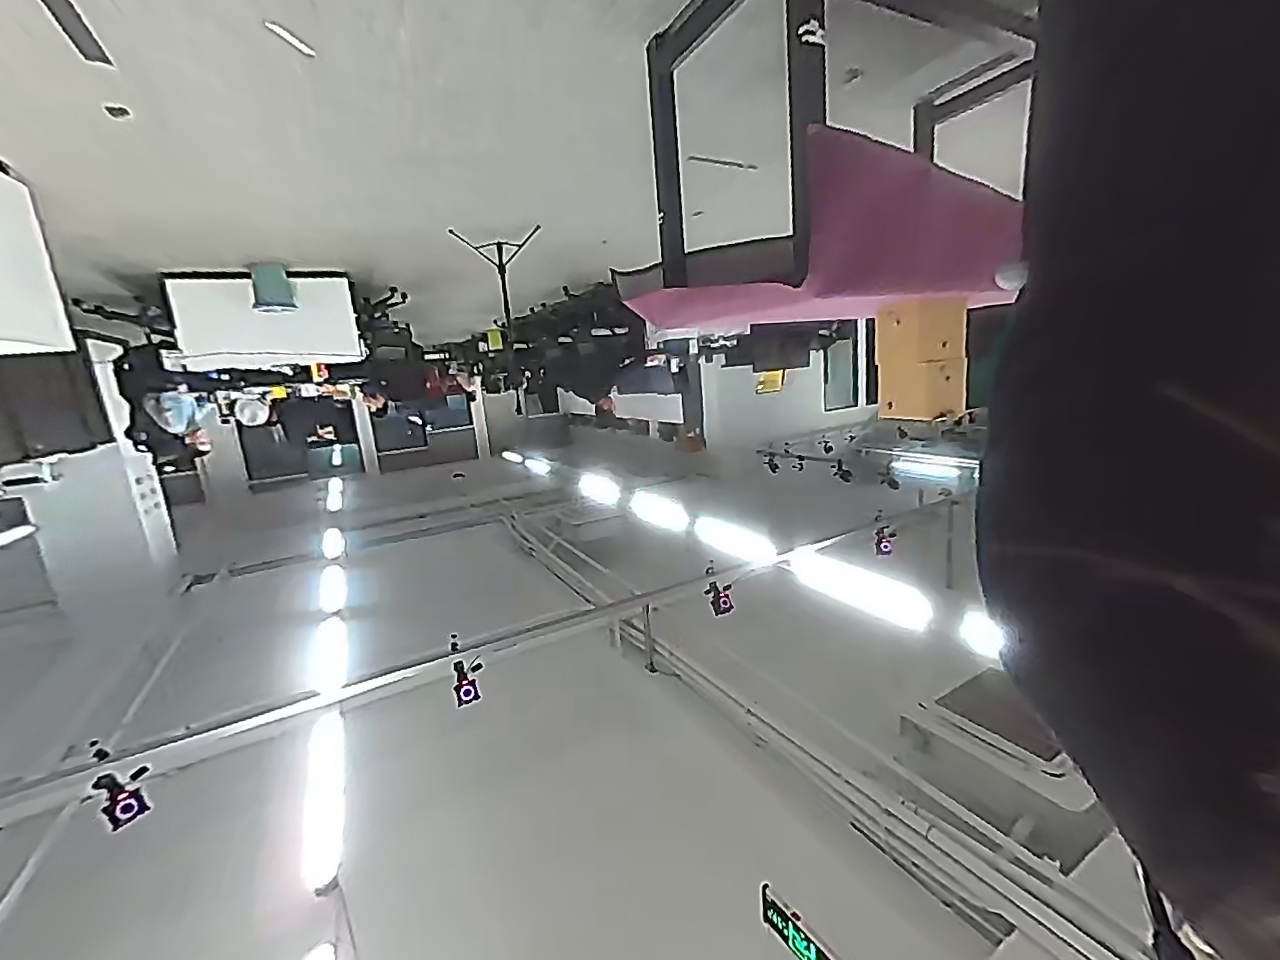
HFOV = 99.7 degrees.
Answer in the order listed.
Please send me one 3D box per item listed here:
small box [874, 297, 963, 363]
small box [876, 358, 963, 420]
[{"bbox_3d":[0.808,-0.434,1.570,0.179,0.176,0.168,-8,-168,-17],"label":"small box"},{"bbox_3d":[0.838,-0.279,1.620,0.168,0.176,0.179,-11,-167,-22],"label":"small box"}]
